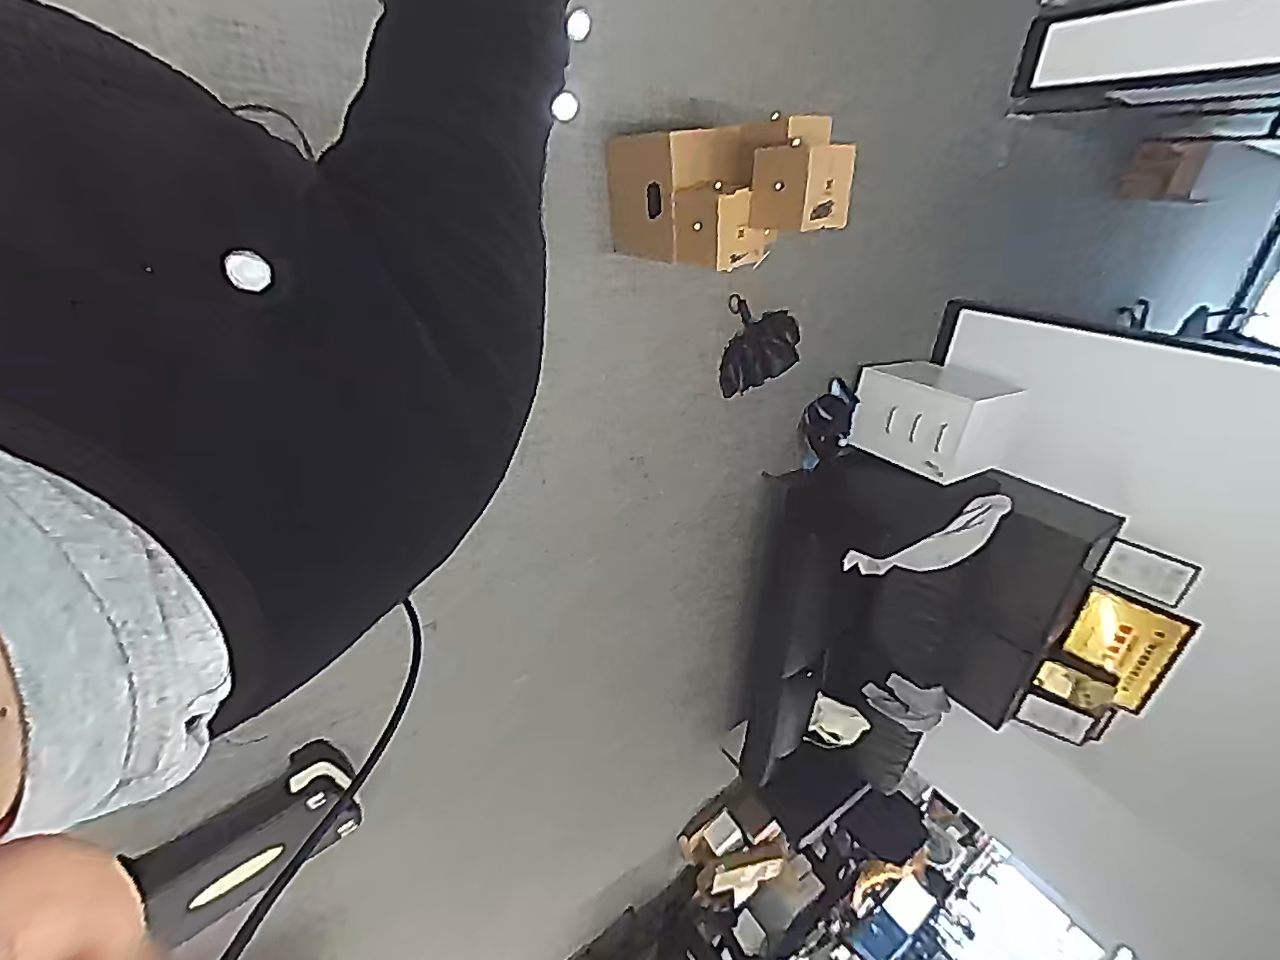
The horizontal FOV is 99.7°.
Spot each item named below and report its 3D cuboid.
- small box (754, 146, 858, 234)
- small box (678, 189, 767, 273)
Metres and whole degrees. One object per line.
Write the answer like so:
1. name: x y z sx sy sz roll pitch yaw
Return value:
1. small box: 0.392 -0.698 1.304 0.168 0.176 0.179 -20 123 -29
2. small box: 0.214 -0.657 1.415 0.168 0.176 0.179 -25 127 -26
